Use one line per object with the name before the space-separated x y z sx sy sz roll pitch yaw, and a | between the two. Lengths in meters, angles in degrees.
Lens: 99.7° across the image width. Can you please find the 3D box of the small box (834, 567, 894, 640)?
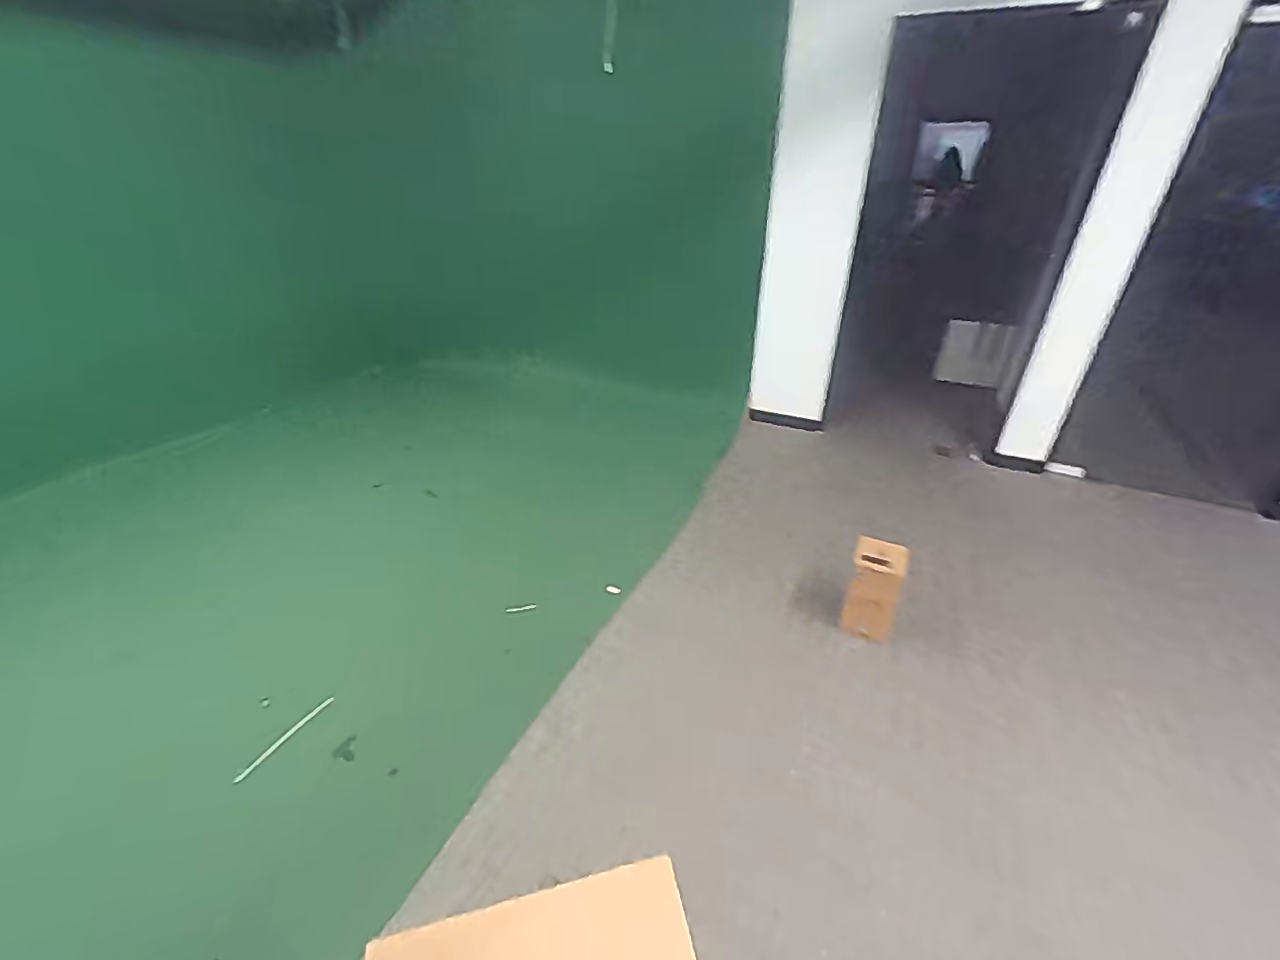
small box | 0.833 0.461 2.020 0.168 0.176 0.179 15 35 23

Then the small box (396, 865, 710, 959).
small box | -0.050 0.350 0.298 0.168 0.176 0.179 0 48 -22
